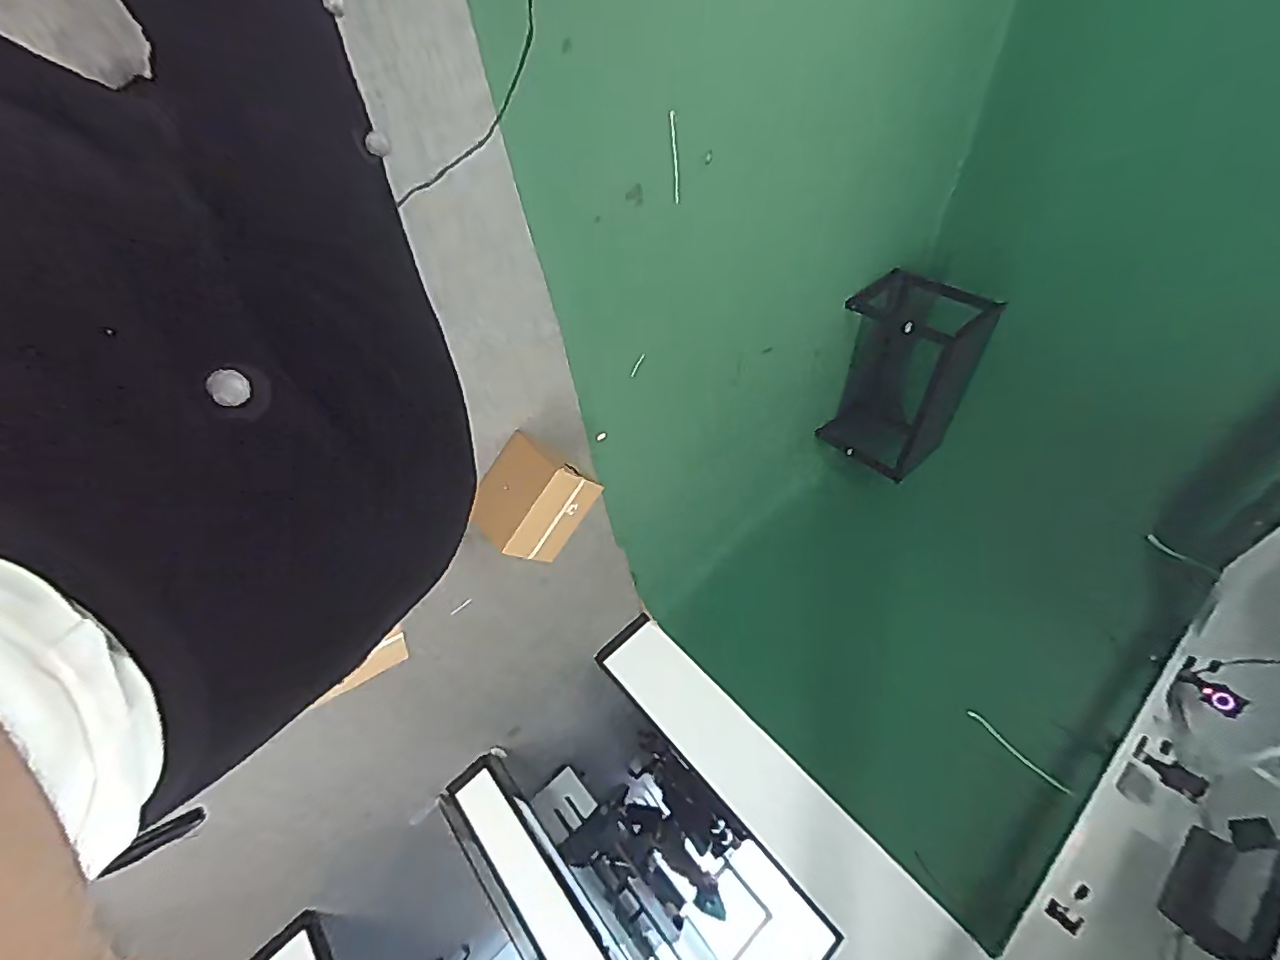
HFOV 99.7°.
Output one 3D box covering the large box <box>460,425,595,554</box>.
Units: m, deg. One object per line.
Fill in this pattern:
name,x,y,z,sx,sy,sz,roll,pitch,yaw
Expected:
large box,-0.469,0.047,2.250,0.408,0.320,0.320,-56,148,6
